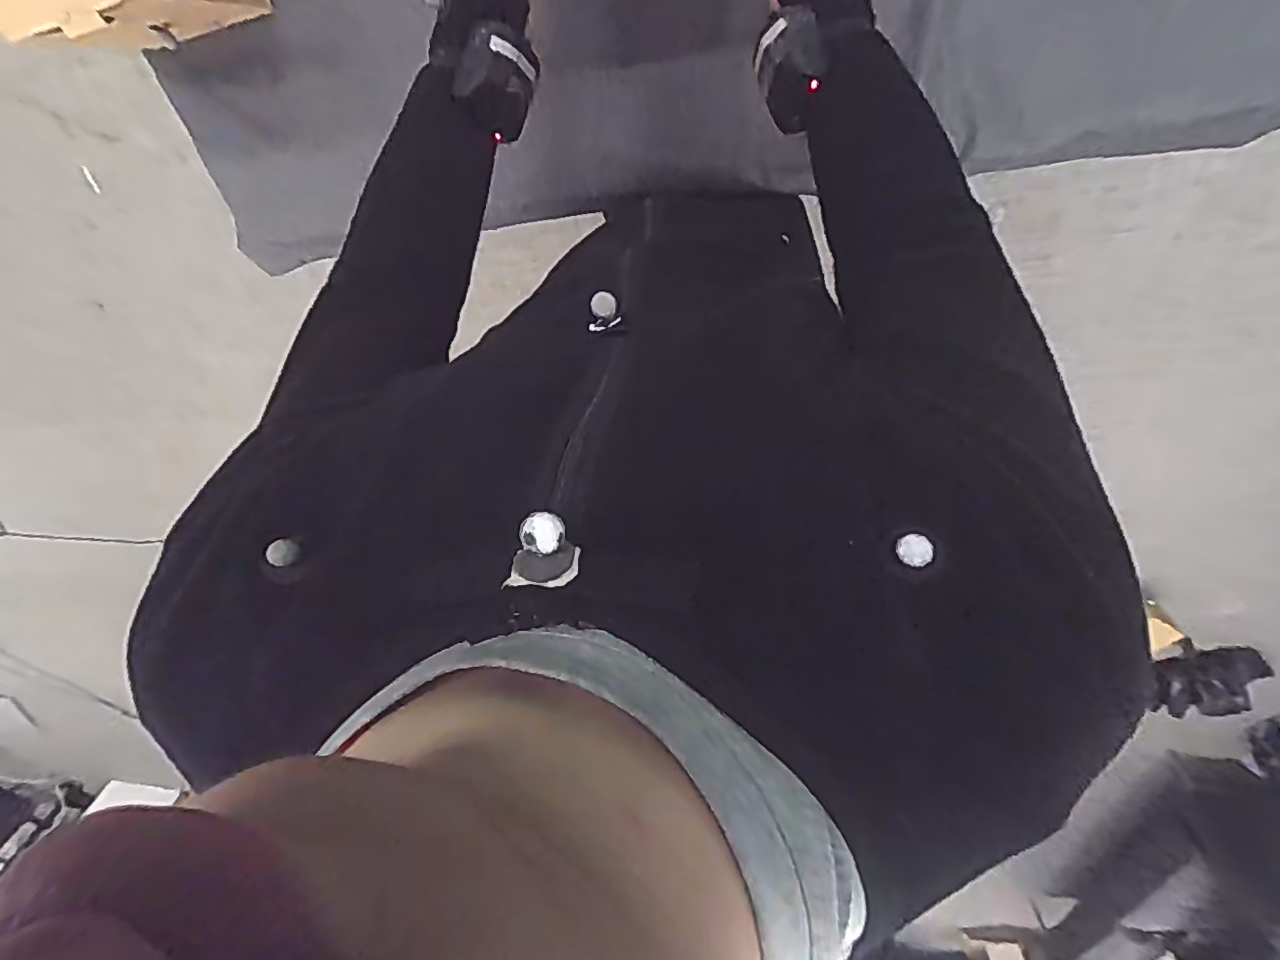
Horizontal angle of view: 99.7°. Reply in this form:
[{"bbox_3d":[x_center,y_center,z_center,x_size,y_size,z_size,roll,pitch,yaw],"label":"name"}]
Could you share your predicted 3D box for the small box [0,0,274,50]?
[{"bbox_3d":[-0.487,-0.518,0.487,0.168,0.176,0.179,-6,127,13],"label":"small box"}]
